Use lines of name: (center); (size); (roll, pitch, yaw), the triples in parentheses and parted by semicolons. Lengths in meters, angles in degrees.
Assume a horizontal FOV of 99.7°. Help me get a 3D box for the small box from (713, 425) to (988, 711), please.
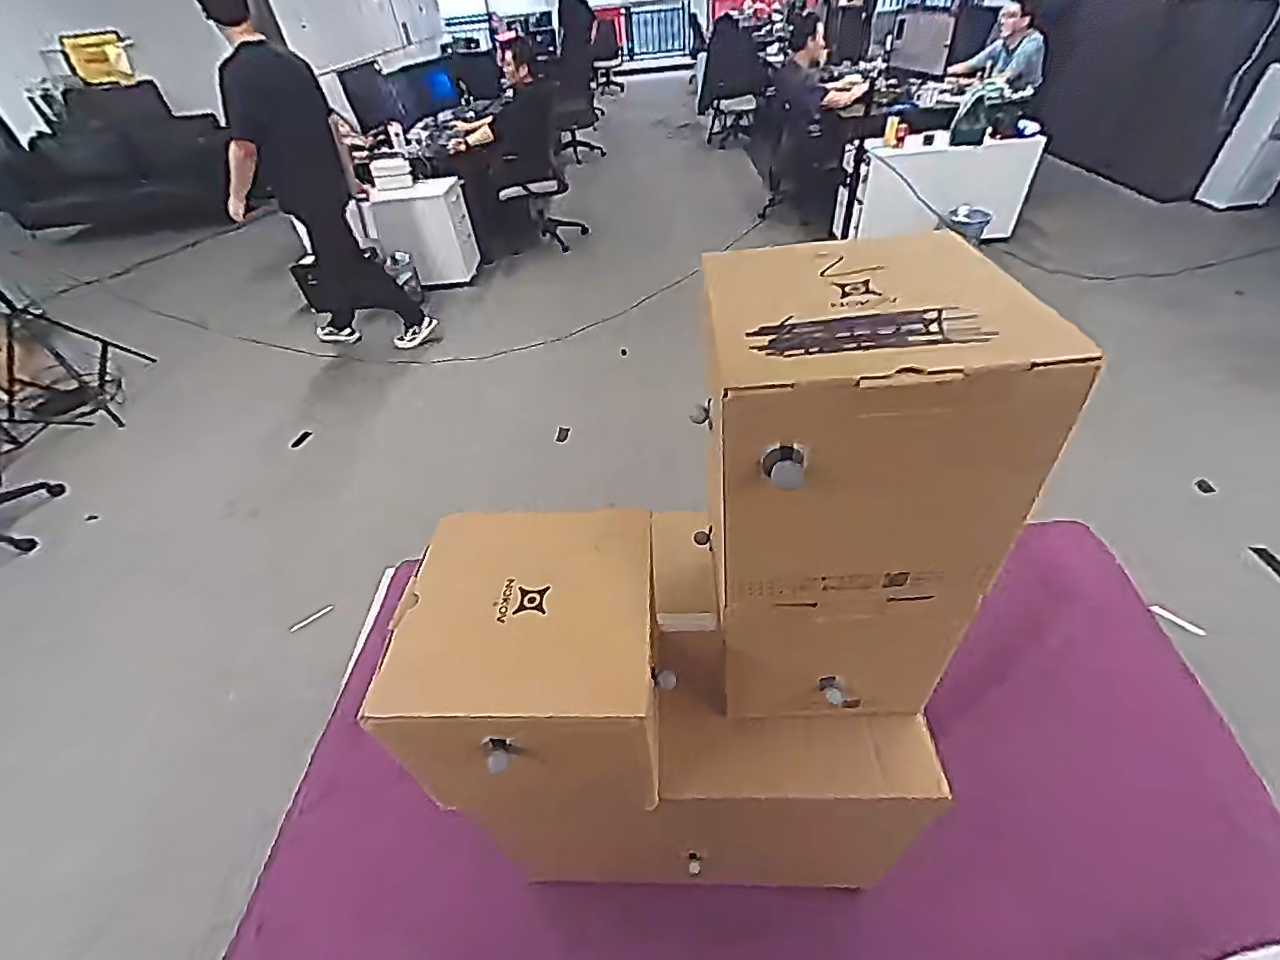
small box: (0.149, 0.074, 0.463); (0.168, 0.176, 0.179); (-4, 42, 5)
